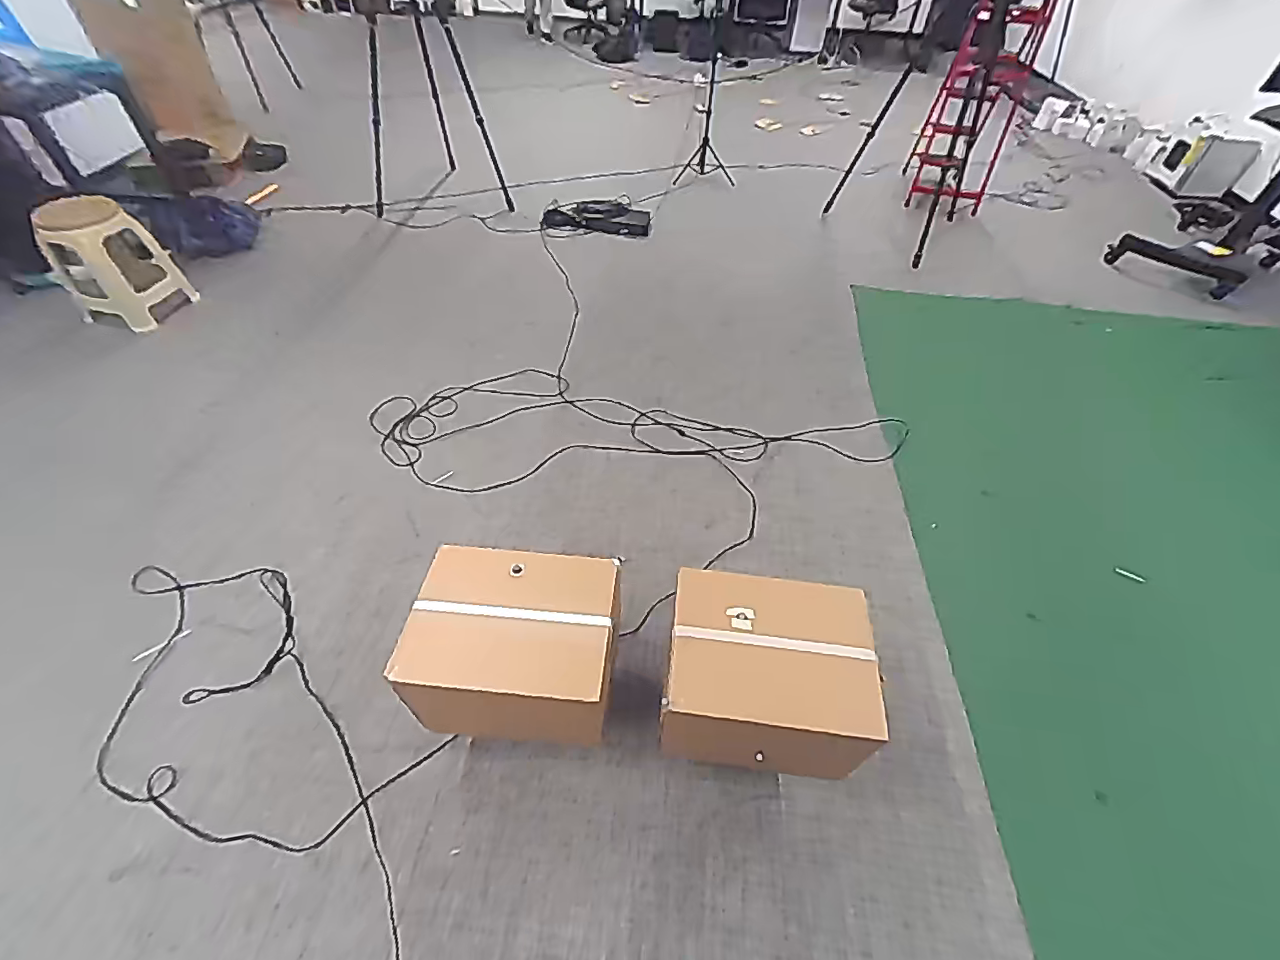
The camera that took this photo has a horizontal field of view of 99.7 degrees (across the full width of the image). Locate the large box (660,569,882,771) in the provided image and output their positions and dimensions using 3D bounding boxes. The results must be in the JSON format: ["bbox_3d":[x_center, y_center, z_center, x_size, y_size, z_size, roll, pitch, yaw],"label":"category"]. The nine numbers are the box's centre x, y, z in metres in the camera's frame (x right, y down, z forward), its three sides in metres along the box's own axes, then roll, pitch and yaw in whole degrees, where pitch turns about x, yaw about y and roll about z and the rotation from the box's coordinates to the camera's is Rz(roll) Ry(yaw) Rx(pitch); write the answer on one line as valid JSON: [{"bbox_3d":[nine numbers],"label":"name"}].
[{"bbox_3d":[0.265,0.429,1.209,0.408,0.320,0.320,7,49,4],"label":"large box"}]
